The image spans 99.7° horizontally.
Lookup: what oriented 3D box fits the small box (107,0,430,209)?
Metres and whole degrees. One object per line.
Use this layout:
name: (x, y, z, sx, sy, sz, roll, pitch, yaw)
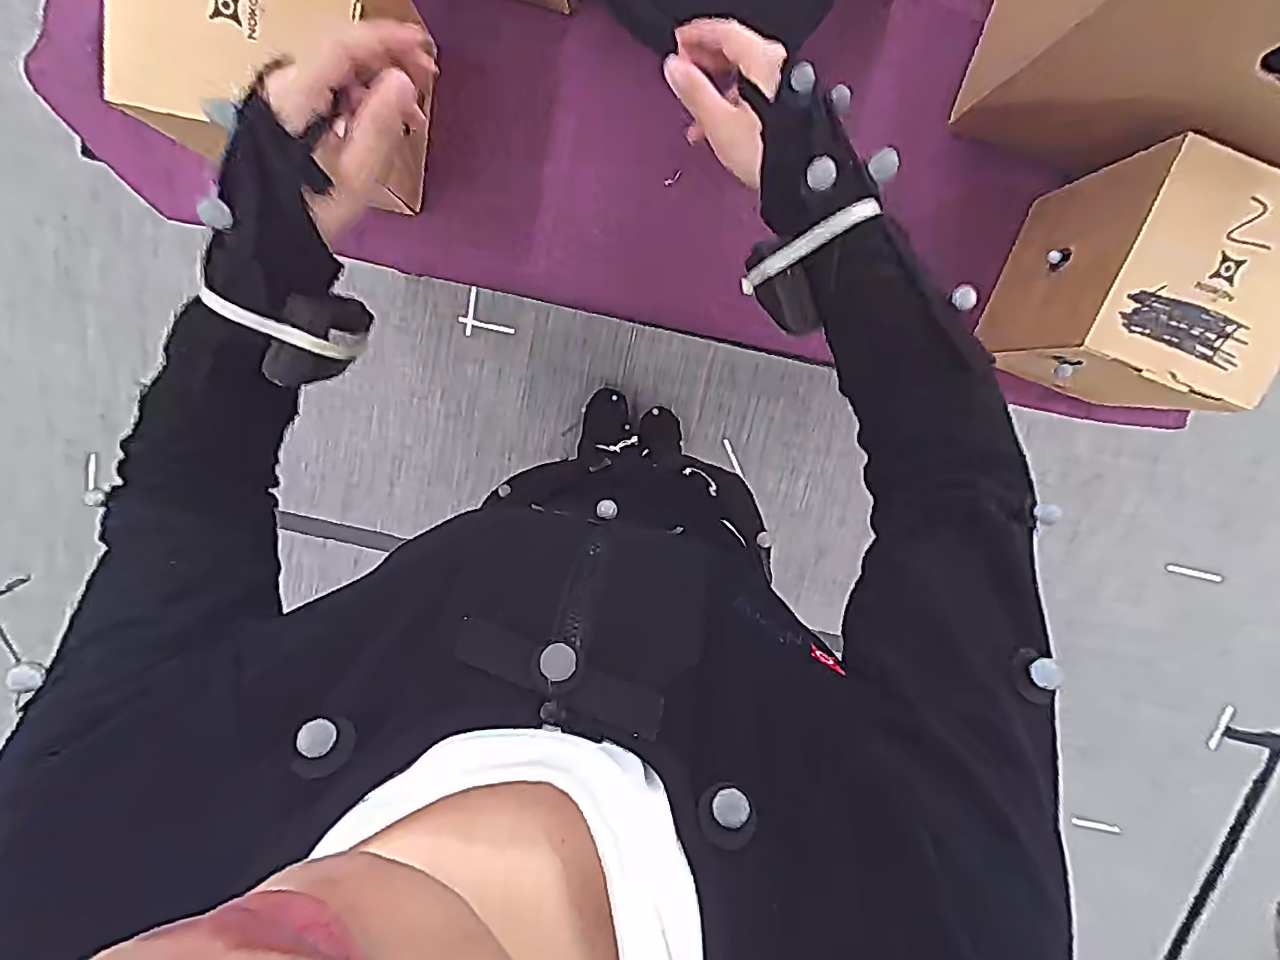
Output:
small box: (-0.308, -0.363, 0.481, 0.179, 0.176, 0.168, 9, 100, -6)
